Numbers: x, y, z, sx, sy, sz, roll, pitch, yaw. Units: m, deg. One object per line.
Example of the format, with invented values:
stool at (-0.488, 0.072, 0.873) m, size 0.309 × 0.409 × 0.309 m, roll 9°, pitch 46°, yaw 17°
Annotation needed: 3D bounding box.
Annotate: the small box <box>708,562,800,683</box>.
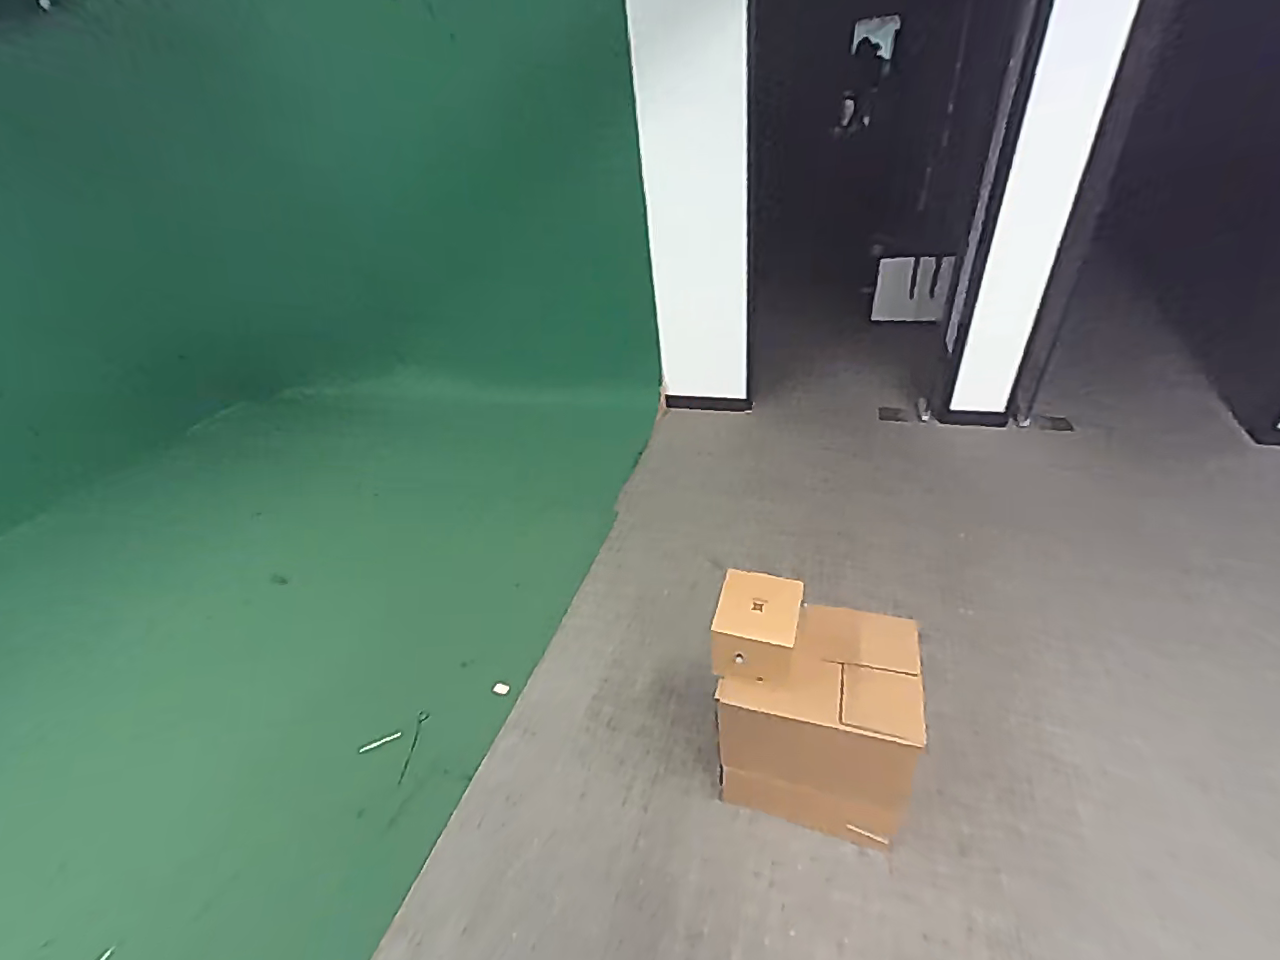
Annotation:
small box at (0.251, 0.311, 1.180) m, size 0.168 × 0.176 × 0.179 m, roll 8°, pitch 41°, yaw 18°
